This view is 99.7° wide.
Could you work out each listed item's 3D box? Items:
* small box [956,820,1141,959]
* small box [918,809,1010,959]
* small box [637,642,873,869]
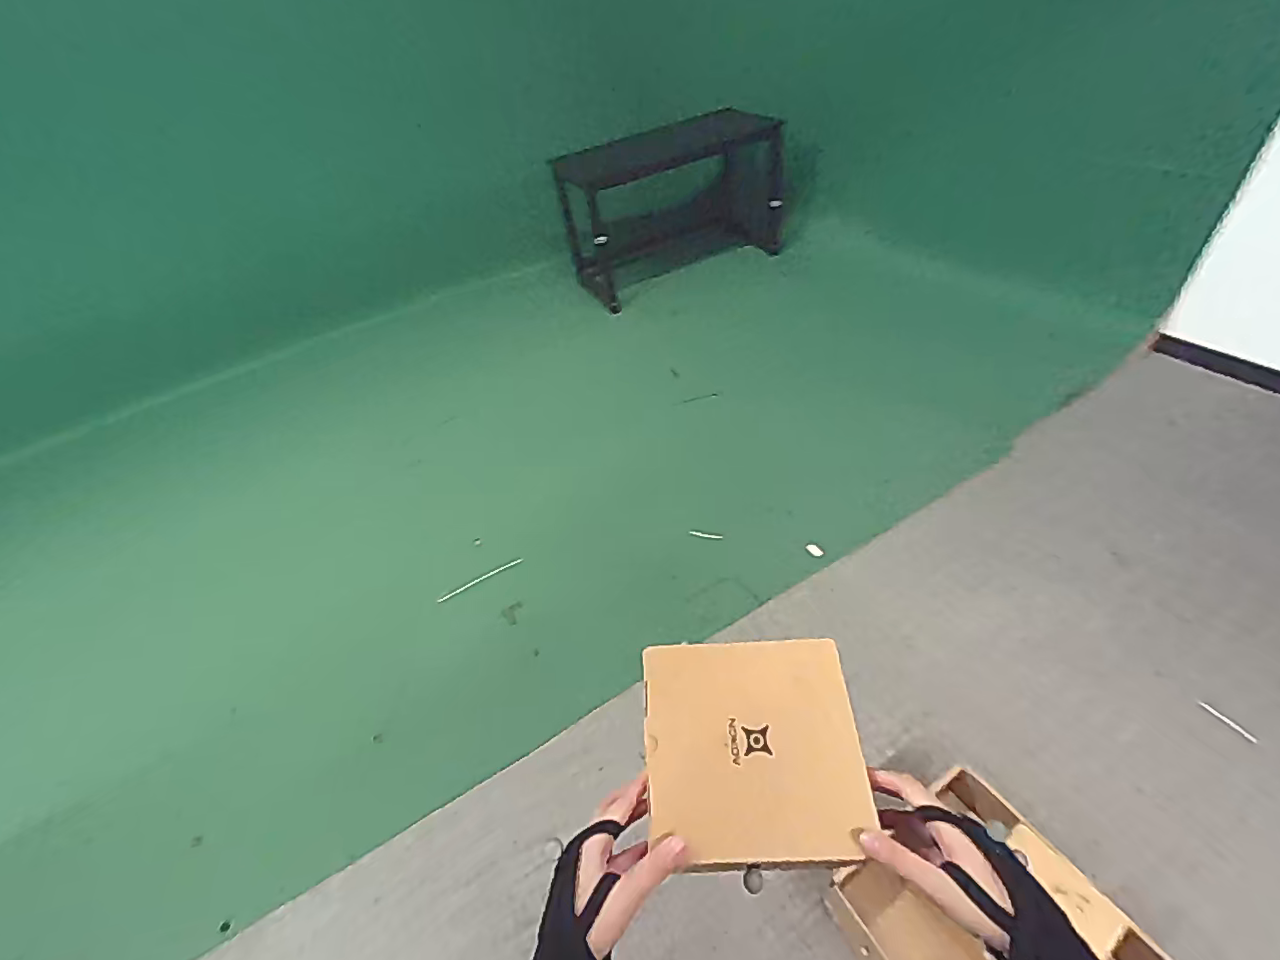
[{"bbox_3d":[0.658,0.715,0.897,0.179,0.176,0.168,-34,50,-17],"label":"small box"},{"bbox_3d":[0.676,0.791,1.049,0.168,0.176,0.179,-33,49,-16],"label":"small box"},{"bbox_3d":[0.092,0.265,0.511,0.179,0.176,0.168,-5,53,4],"label":"small box"}]
